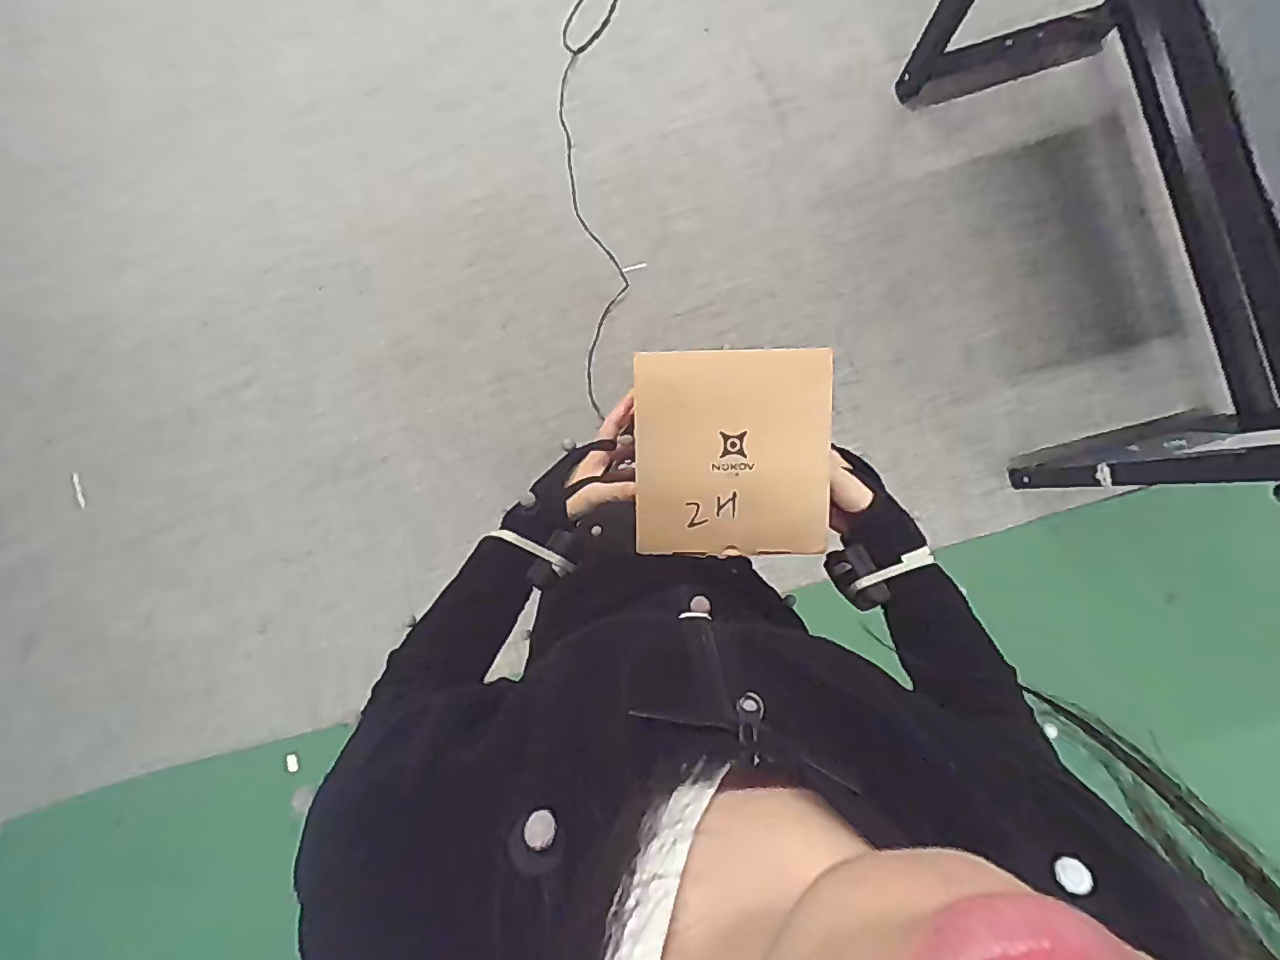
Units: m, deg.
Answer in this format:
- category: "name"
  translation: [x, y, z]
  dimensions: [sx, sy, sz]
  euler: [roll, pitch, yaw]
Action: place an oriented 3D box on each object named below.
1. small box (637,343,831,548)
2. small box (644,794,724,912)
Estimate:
- category: "small box"
  translation: [0.081, -0.037, 0.539]
  dimensions: [0.168, 0.176, 0.179]
  euler: [0, 98, 2]
- category: "small box"
  translation: [0.113, 0.956, 1.398]
  dimensions: [0.168, 0.176, 0.179]
  euler: [-14, 87, 3]
